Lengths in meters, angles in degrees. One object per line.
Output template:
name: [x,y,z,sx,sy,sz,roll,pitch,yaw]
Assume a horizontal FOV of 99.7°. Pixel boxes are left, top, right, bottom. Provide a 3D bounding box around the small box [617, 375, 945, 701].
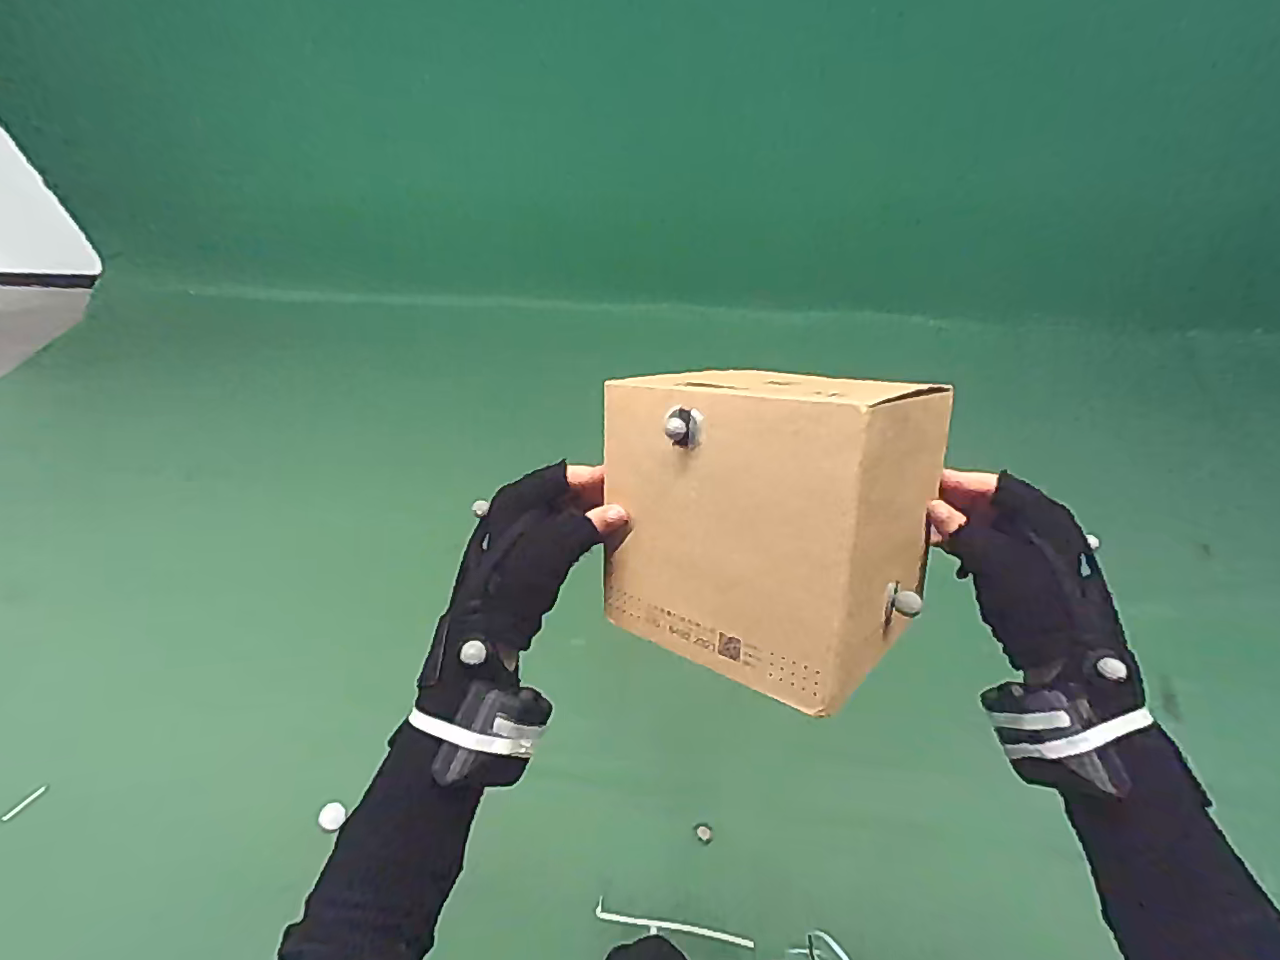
small box: [0.094,0.018,0.383,0.168,0.176,0.179,13,17,38]
